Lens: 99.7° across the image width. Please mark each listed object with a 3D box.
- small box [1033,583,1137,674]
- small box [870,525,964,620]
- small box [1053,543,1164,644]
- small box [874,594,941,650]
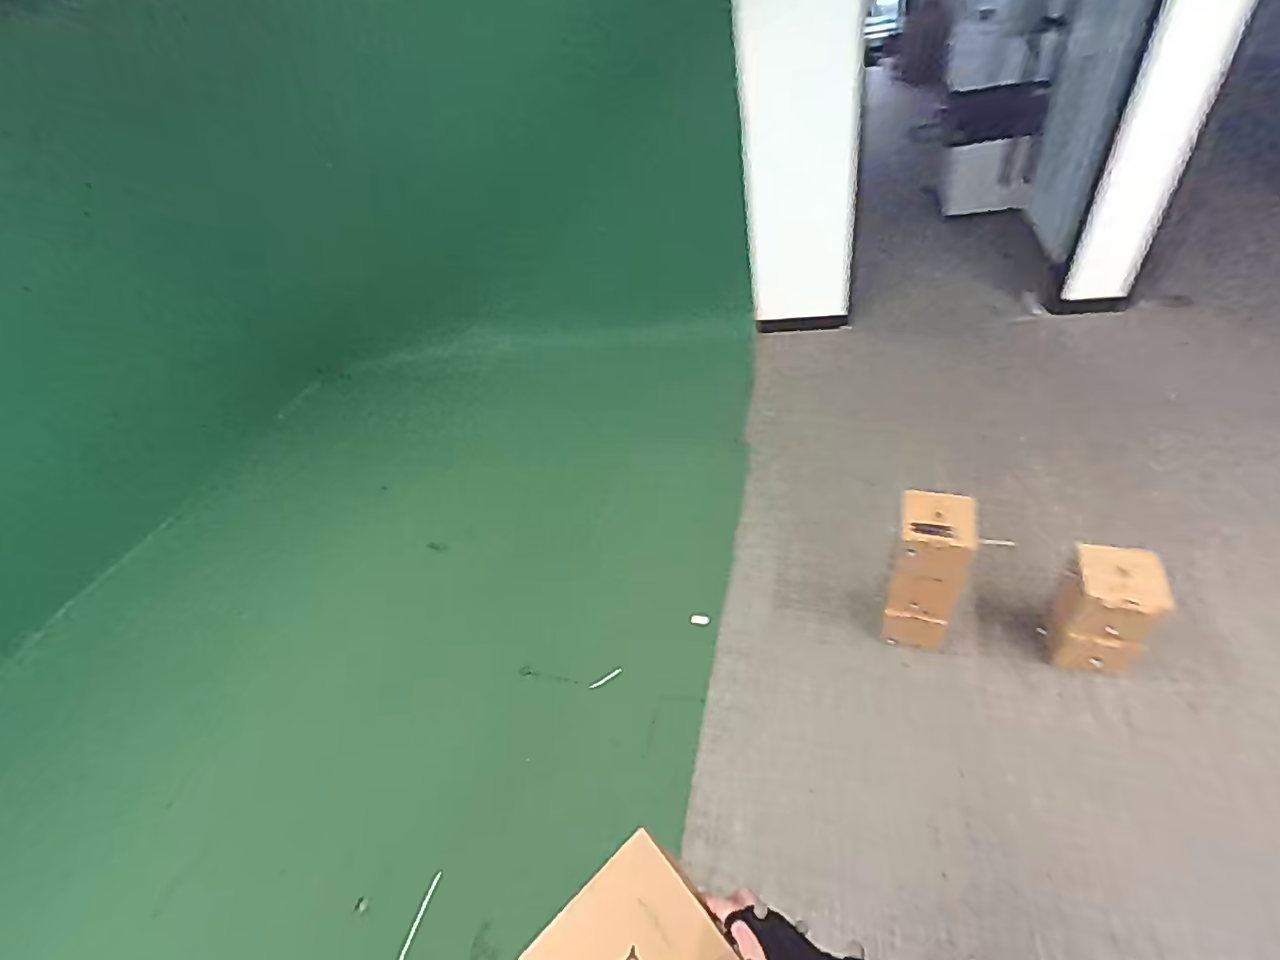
[{"bbox_3d":[1.226,0.415,1.504,0.168,0.176,0.179,4,47,20],"label":"small box"},{"bbox_3d":[0.787,0.269,1.556,0.168,0.176,0.179,-37,47,-19],"label":"small box"},{"bbox_3d":[1.196,0.292,1.398,0.168,0.176,0.179,7,47,24],"label":"small box"},{"bbox_3d":[0.814,0.391,1.649,0.168,0.176,0.179,7,47,21],"label":"small box"}]
